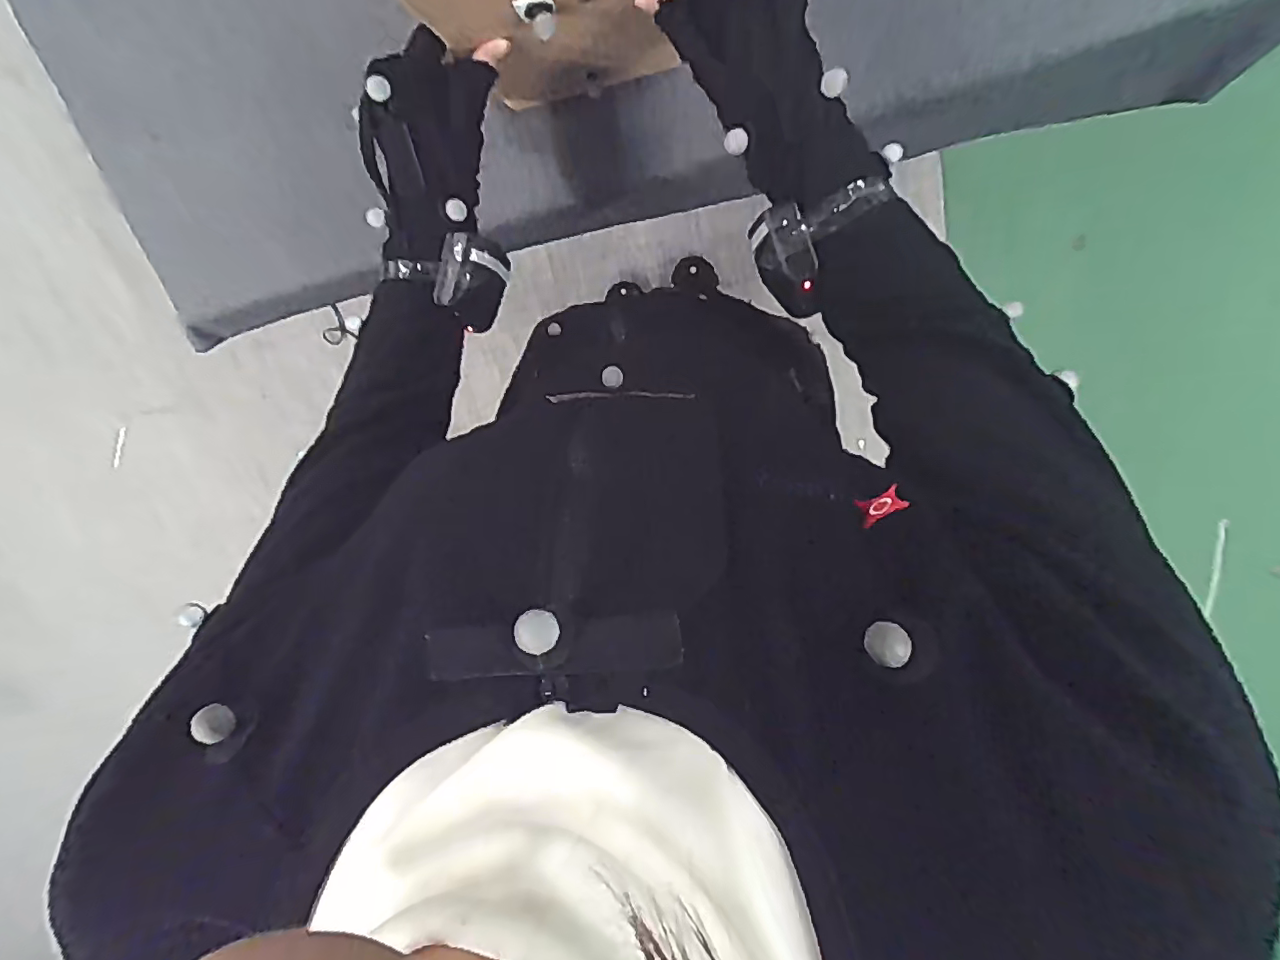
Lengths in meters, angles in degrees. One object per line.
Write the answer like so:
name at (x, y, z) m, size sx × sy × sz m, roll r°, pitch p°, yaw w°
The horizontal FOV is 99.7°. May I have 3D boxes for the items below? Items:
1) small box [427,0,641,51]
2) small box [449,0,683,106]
small box at (-0.079, -0.381, 0.289) m, size 0.168 × 0.176 × 0.179 m, roll -12°, pitch 111°, yaw 10°
small box at (-0.066, -0.438, 0.441) m, size 0.179 × 0.176 × 0.168 m, roll -11°, pitch 110°, yaw 7°
